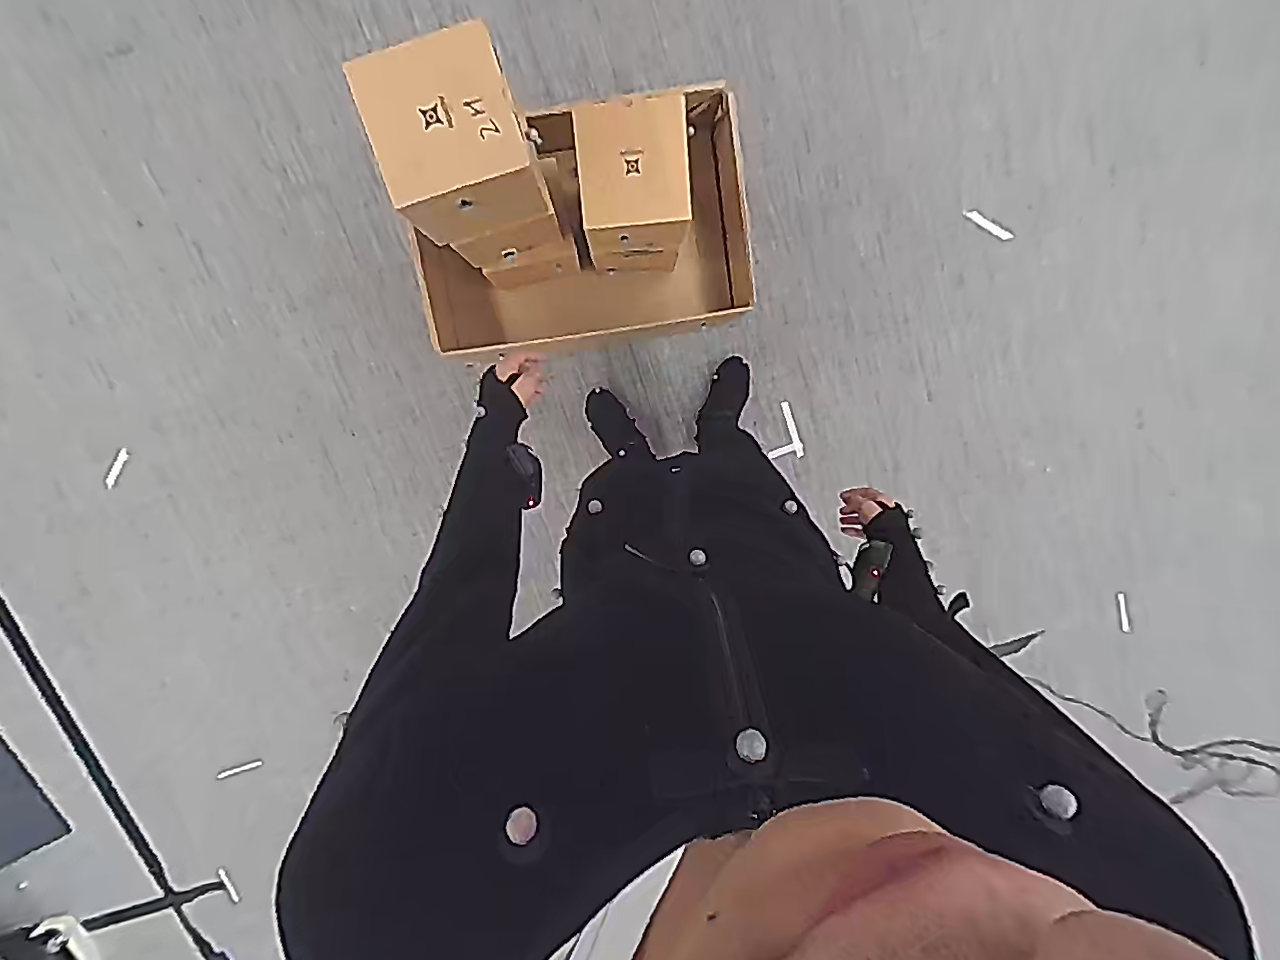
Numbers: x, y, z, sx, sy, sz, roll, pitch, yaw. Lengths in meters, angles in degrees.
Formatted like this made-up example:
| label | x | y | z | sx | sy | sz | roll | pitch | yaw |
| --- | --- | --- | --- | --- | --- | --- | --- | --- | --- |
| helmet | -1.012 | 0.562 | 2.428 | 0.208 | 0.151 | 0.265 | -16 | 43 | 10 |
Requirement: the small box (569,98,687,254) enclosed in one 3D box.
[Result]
| label | x | y | z | sx | sy | sz | roll | pitch | yaw |
| --- | --- | --- | --- | --- | --- | --- | --- | --- | --- |
| small box | -0.015 | -0.476 | 0.876 | 0.168 | 0.176 | 0.179 | -5 | 99 | 0 |

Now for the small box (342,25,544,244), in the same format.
| label | x | y | z | sx | sy | sz | roll | pitch | yaw |
| --- | --- | --- | --- | --- | --- | --- | --- | --- | --- |
| small box | -0.240 | -0.431 | 0.707 | 0.179 | 0.176 | 0.168 | -17 | 100 | 0 |
